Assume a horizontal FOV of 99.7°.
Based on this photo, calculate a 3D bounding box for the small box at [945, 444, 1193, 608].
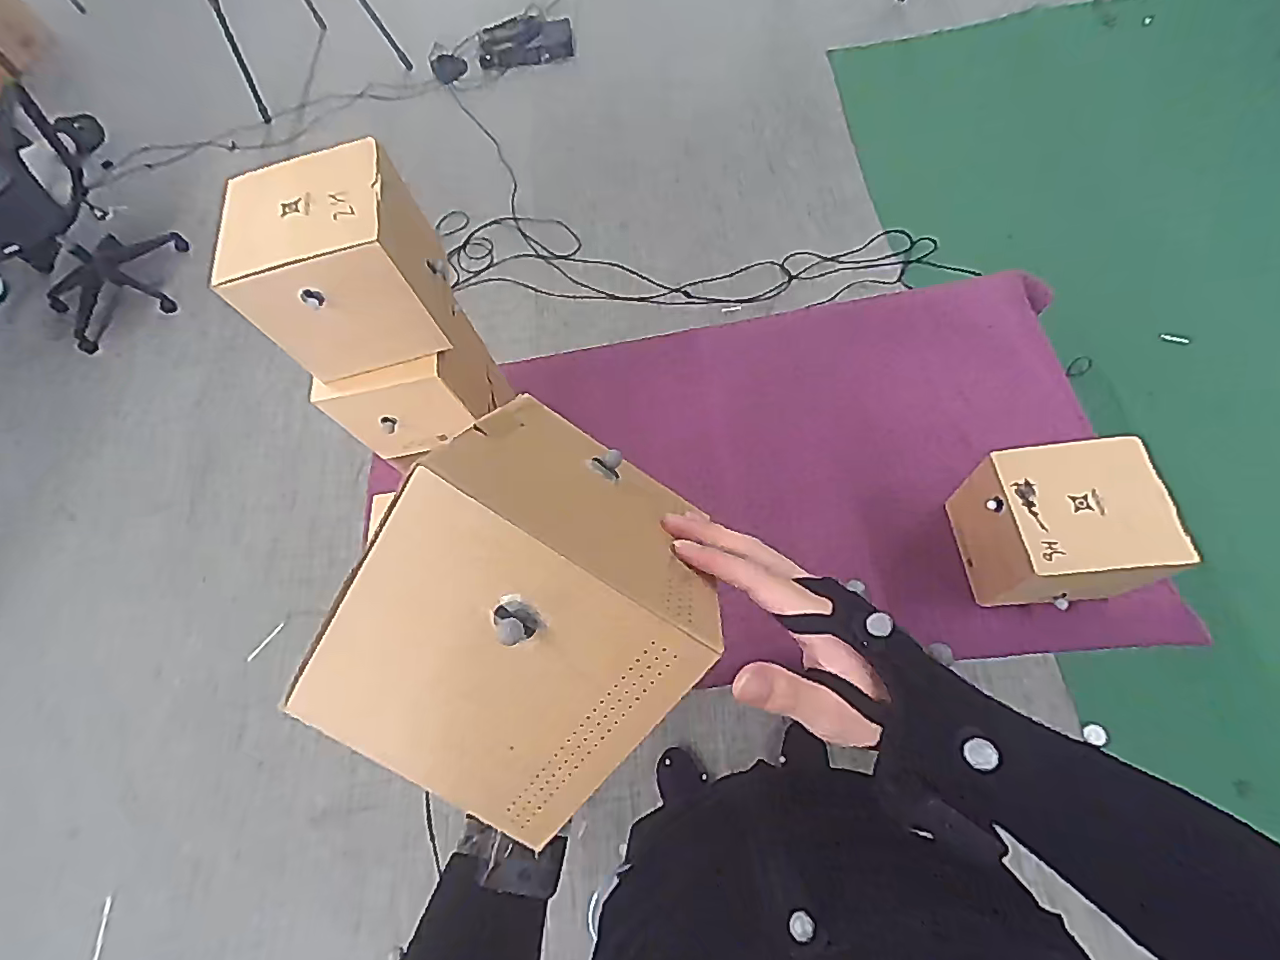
[{"bbox_3d":[0.546,0.068,0.721,0.179,0.176,0.168,-6,63,6],"label":"small box"}]

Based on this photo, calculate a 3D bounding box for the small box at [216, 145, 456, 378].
[{"bbox_3d":[-0.338,-0.243,0.634,0.179,0.176,0.168,-14,65,2],"label":"small box"}]

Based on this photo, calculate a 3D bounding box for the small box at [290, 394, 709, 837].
[{"bbox_3d":[-0.067,0.076,0.348,0.176,0.168,0.179,34,109,-7],"label":"small box"}]

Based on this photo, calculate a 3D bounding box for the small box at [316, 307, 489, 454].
[{"bbox_3d":[-0.324,-0.150,0.772,0.168,0.176,0.179,-11,64,3],"label":"small box"}]
